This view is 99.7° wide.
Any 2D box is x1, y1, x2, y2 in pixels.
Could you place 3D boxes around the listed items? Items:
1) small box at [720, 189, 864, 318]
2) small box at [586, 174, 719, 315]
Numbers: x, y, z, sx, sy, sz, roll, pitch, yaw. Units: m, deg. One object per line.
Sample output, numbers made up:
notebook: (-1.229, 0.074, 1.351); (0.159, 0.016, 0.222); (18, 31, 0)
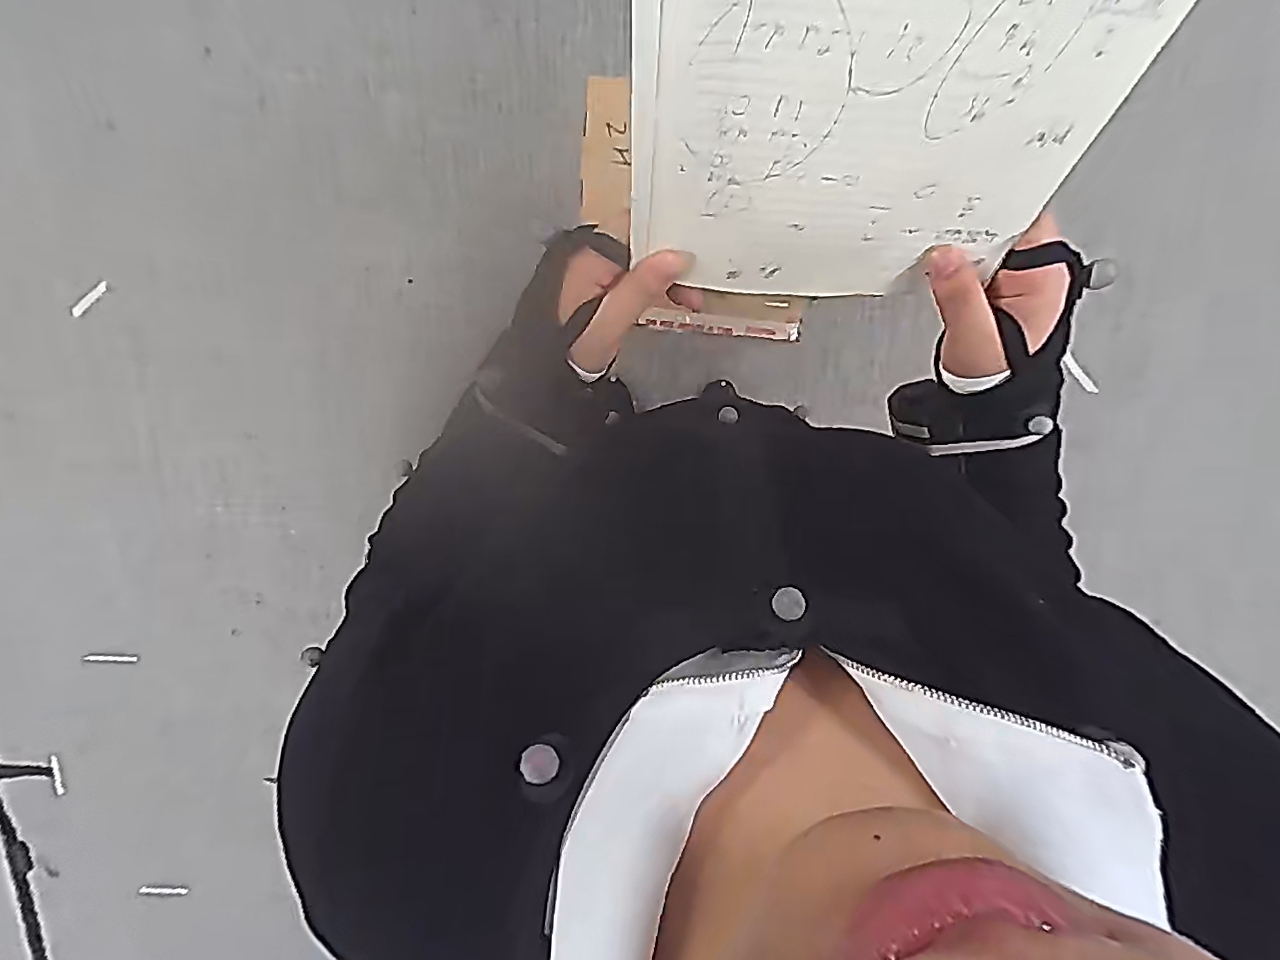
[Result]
small box: (0.234, -0.355, 0.875); (0.179, 0.176, 0.168); (0, 102, -2)
small box: (0.018, -0.365, 0.870); (0.179, 0.176, 0.168); (9, 102, -1)
